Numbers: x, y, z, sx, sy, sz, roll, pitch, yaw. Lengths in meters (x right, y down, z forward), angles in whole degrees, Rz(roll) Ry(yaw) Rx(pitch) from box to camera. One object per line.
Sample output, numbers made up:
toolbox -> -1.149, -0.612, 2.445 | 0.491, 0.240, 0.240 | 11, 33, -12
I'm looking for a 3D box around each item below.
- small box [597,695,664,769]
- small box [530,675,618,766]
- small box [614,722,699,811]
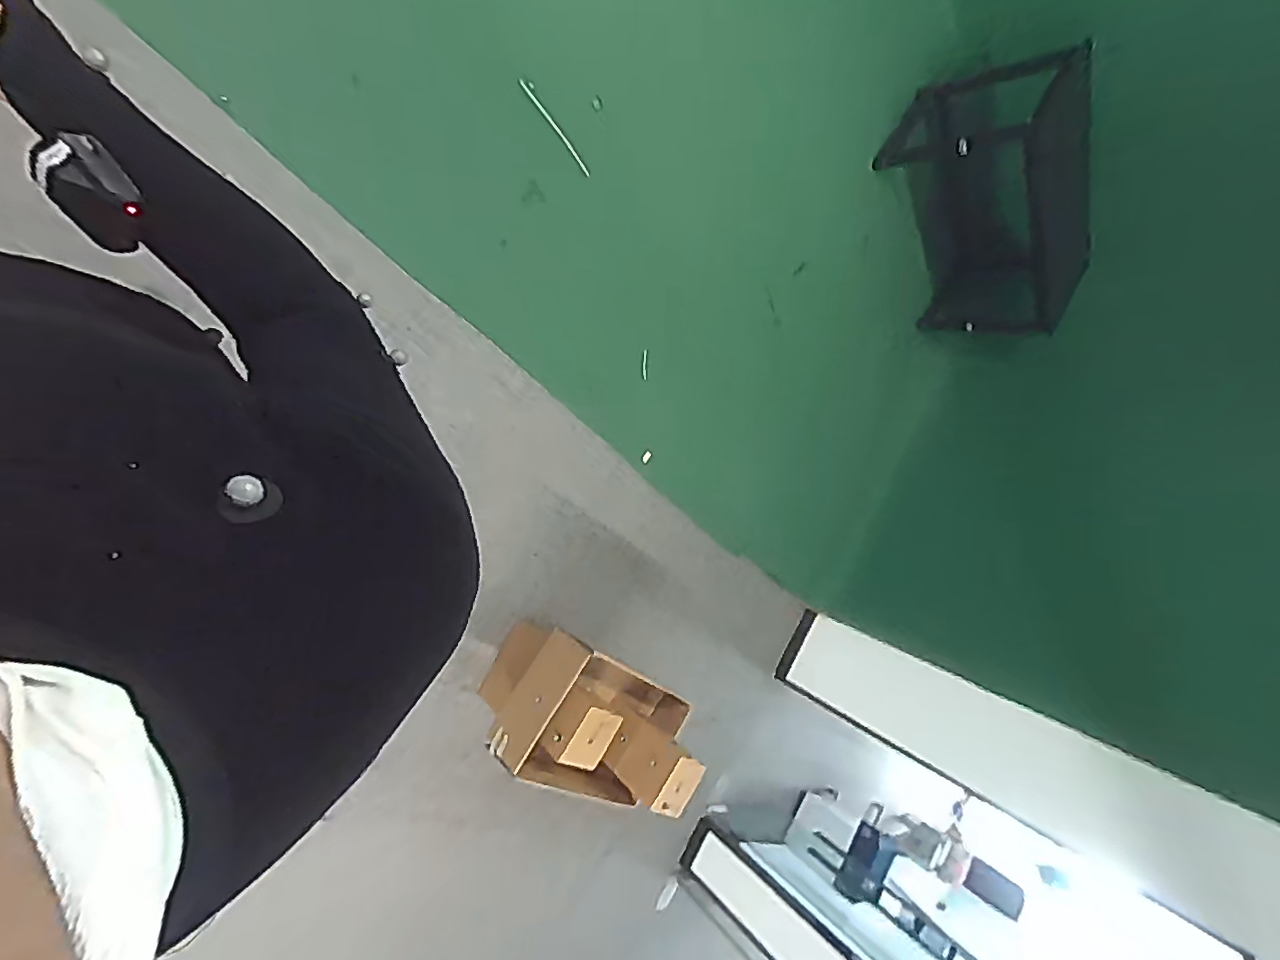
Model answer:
small box -> -0.058, 0.858, 1.821 | 0.179, 0.176, 0.168 | -55, 132, -14
small box -> -0.207, 0.725, 1.634 | 0.168, 0.176, 0.179 | 43, 74, -43
small box -> 0.050, 0.898, 1.705 | 0.168, 0.176, 0.179 | 46, 71, -40
